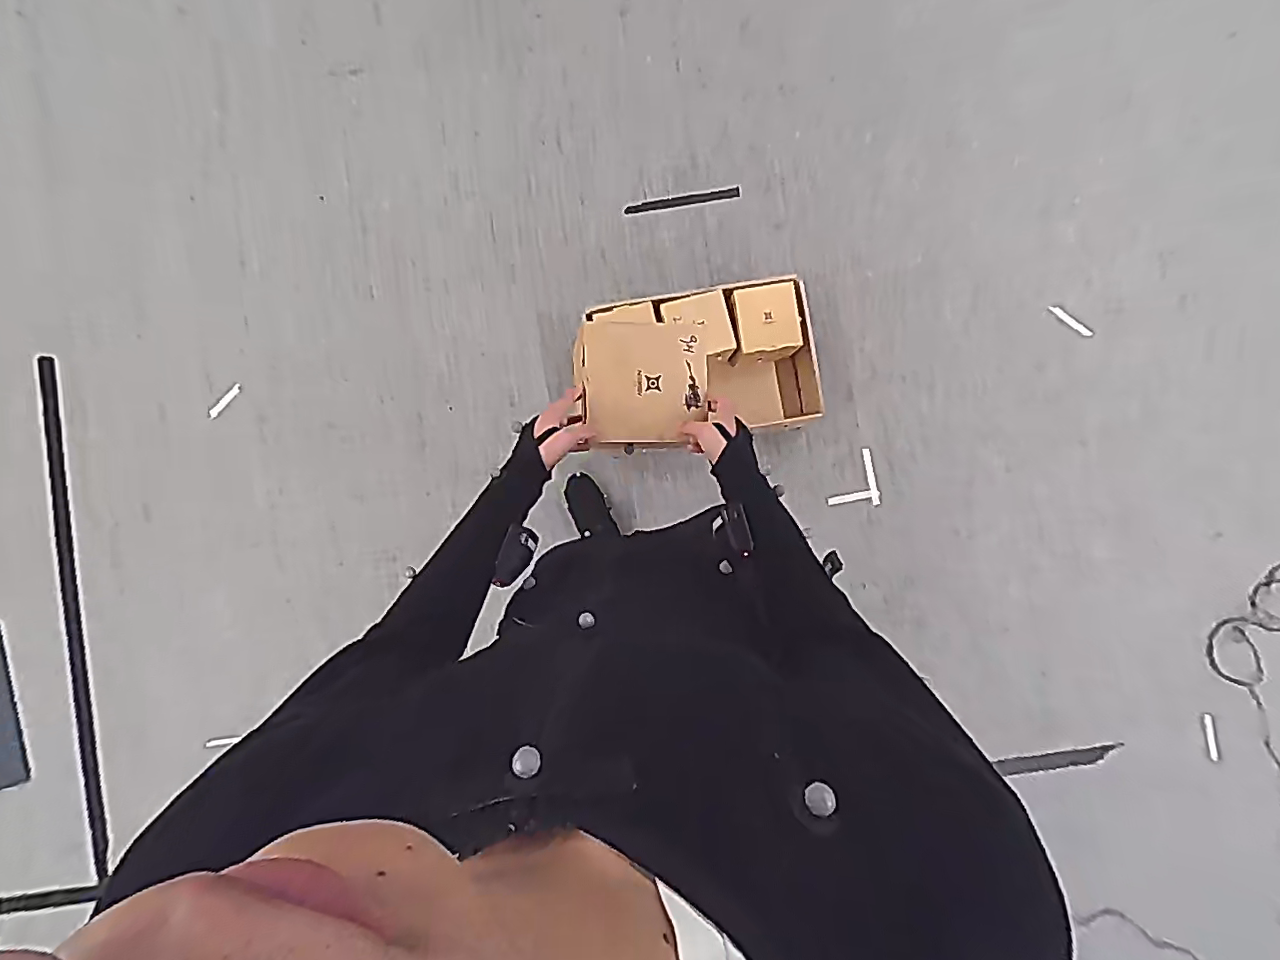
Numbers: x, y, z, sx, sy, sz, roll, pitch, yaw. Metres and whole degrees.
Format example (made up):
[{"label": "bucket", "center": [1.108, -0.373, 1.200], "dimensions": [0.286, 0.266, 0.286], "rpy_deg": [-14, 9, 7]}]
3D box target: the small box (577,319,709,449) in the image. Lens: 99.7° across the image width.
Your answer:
[{"label": "small box", "center": [-0.005, -0.133, 0.808], "dimensions": [0.179, 0.176, 0.168], "rpy_deg": [-1, 91, -10]}]
